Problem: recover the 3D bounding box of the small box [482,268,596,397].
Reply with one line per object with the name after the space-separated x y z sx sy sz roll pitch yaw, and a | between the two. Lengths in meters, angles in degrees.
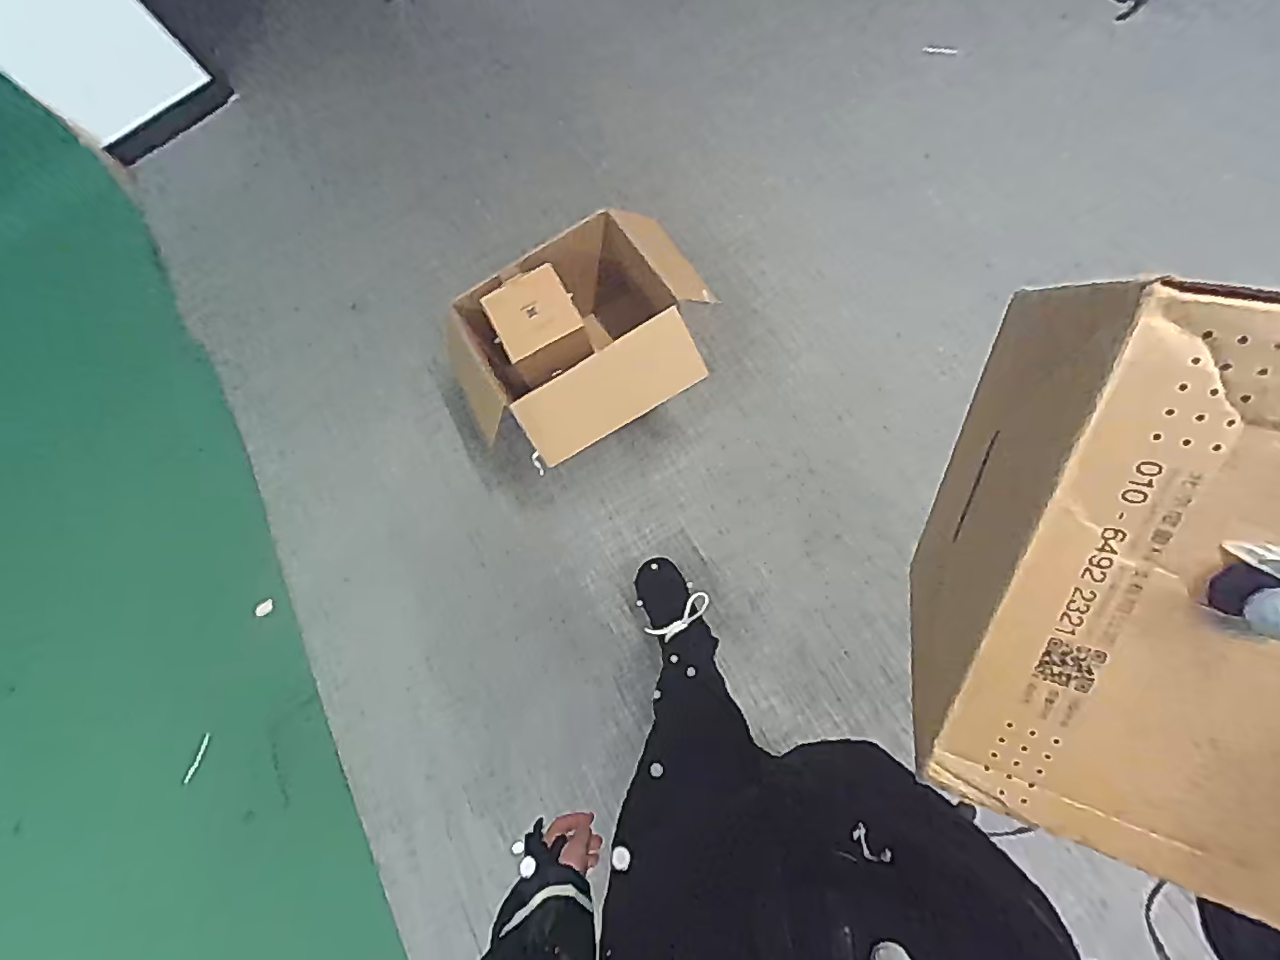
-0.214 -0.314 1.179 0.168 0.176 0.179 -28 74 -2 | small box
